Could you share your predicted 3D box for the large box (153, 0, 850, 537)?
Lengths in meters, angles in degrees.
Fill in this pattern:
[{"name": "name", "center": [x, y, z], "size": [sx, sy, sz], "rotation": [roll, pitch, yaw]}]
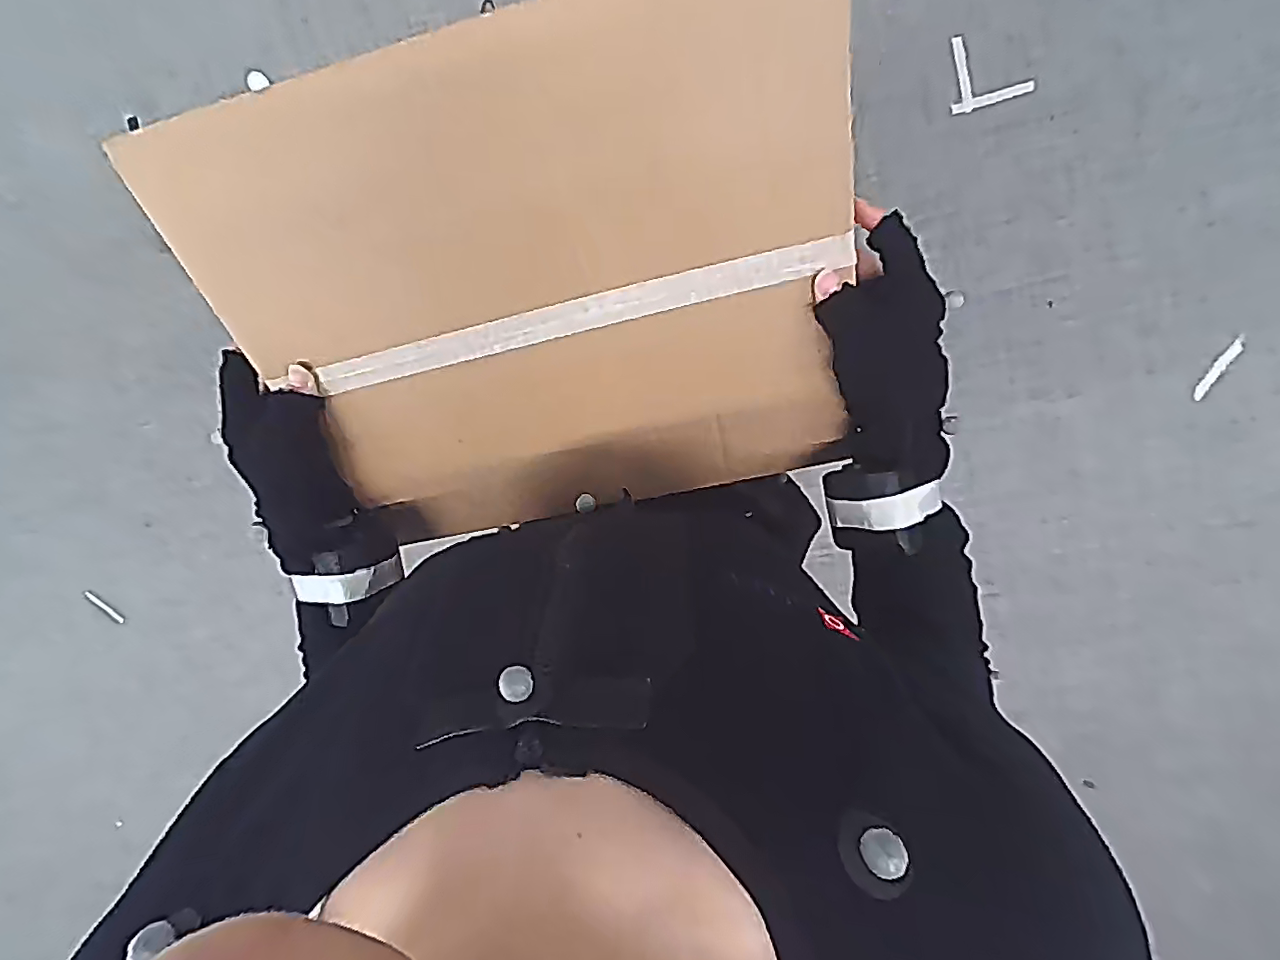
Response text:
[{"name": "large box", "center": [-0.064, -0.193, 0.493], "size": [0.408, 0.320, 0.320], "rotation": [-11, 125, 8]}]
